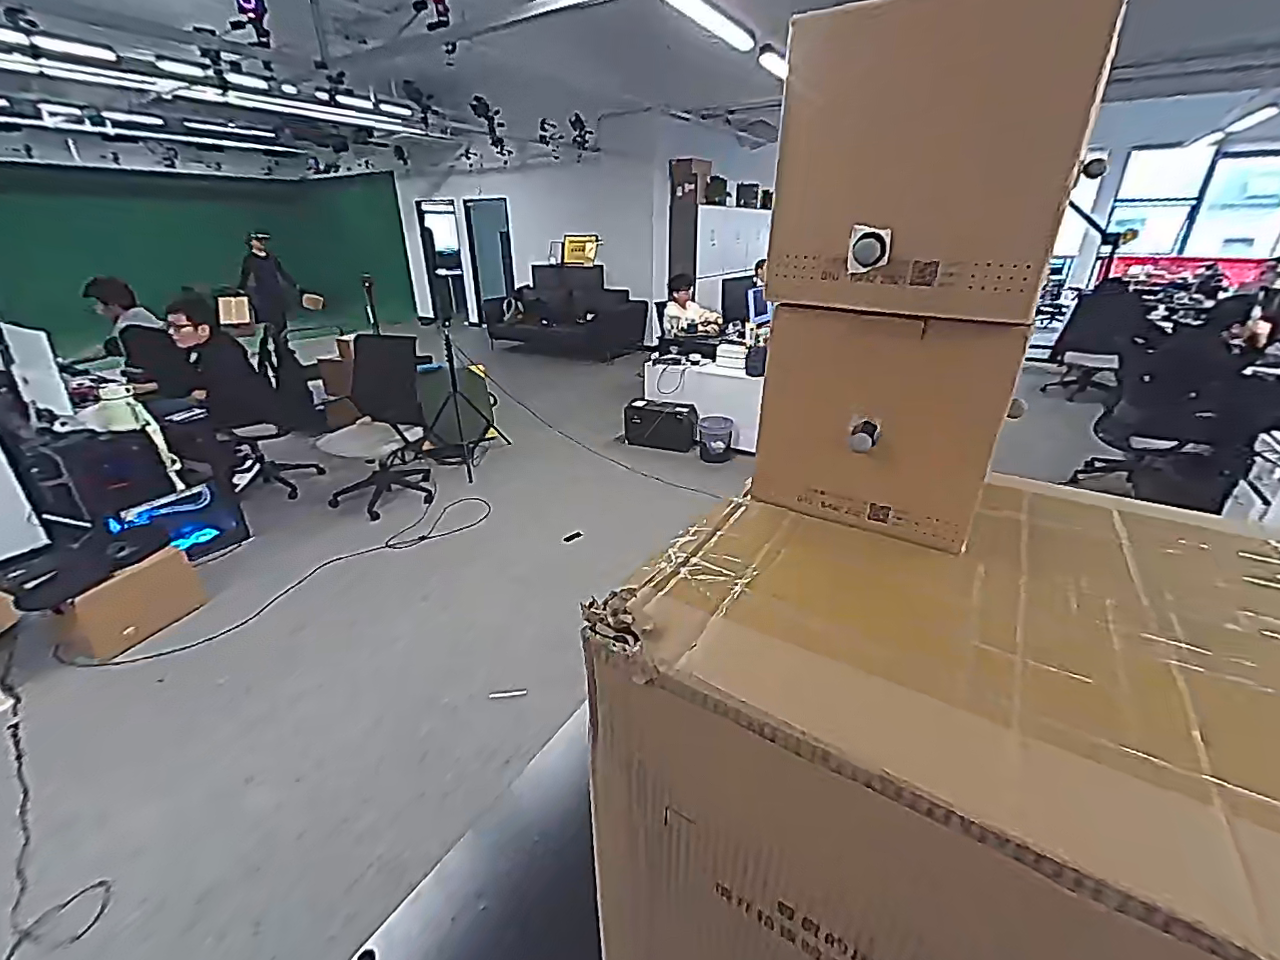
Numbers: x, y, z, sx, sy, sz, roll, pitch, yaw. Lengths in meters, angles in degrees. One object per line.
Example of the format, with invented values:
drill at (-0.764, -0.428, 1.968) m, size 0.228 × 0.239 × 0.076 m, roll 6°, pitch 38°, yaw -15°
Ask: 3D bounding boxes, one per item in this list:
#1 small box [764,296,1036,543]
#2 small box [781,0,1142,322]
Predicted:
small box at (0.213, -0.069, 0.457) m, size 0.168 × 0.176 × 0.179 m, roll 16°, pitch 29°, yaw 29°
small box at (0.208, -0.211, 0.375) m, size 0.168 × 0.176 × 0.179 m, roll 15°, pitch 29°, yaw 31°
